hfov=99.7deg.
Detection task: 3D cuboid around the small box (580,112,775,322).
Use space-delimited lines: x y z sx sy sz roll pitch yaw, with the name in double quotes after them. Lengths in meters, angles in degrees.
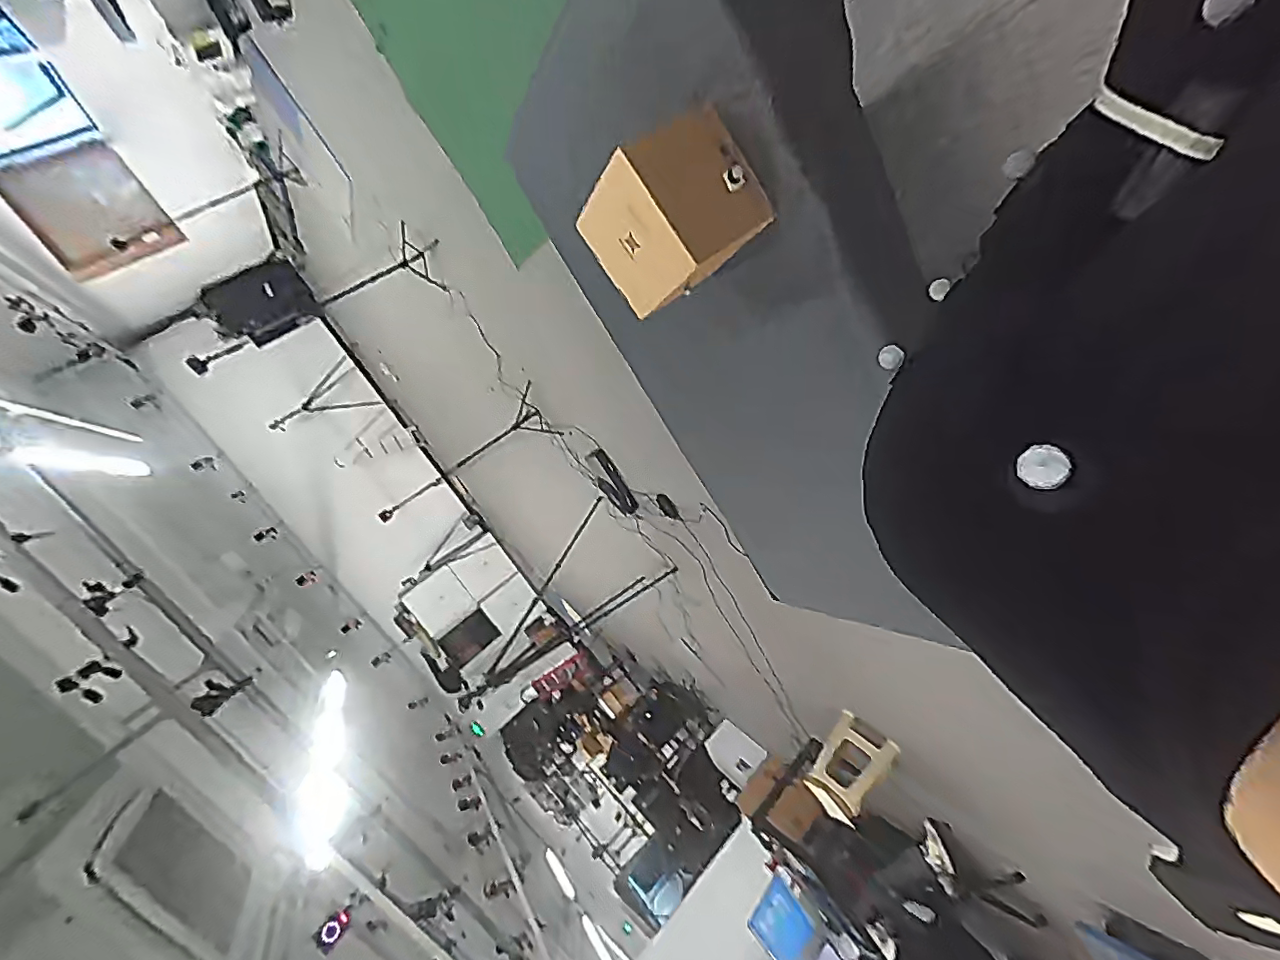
0.050 -0.355 0.747 0.168 0.176 0.179 53 156 -9 "small box"
